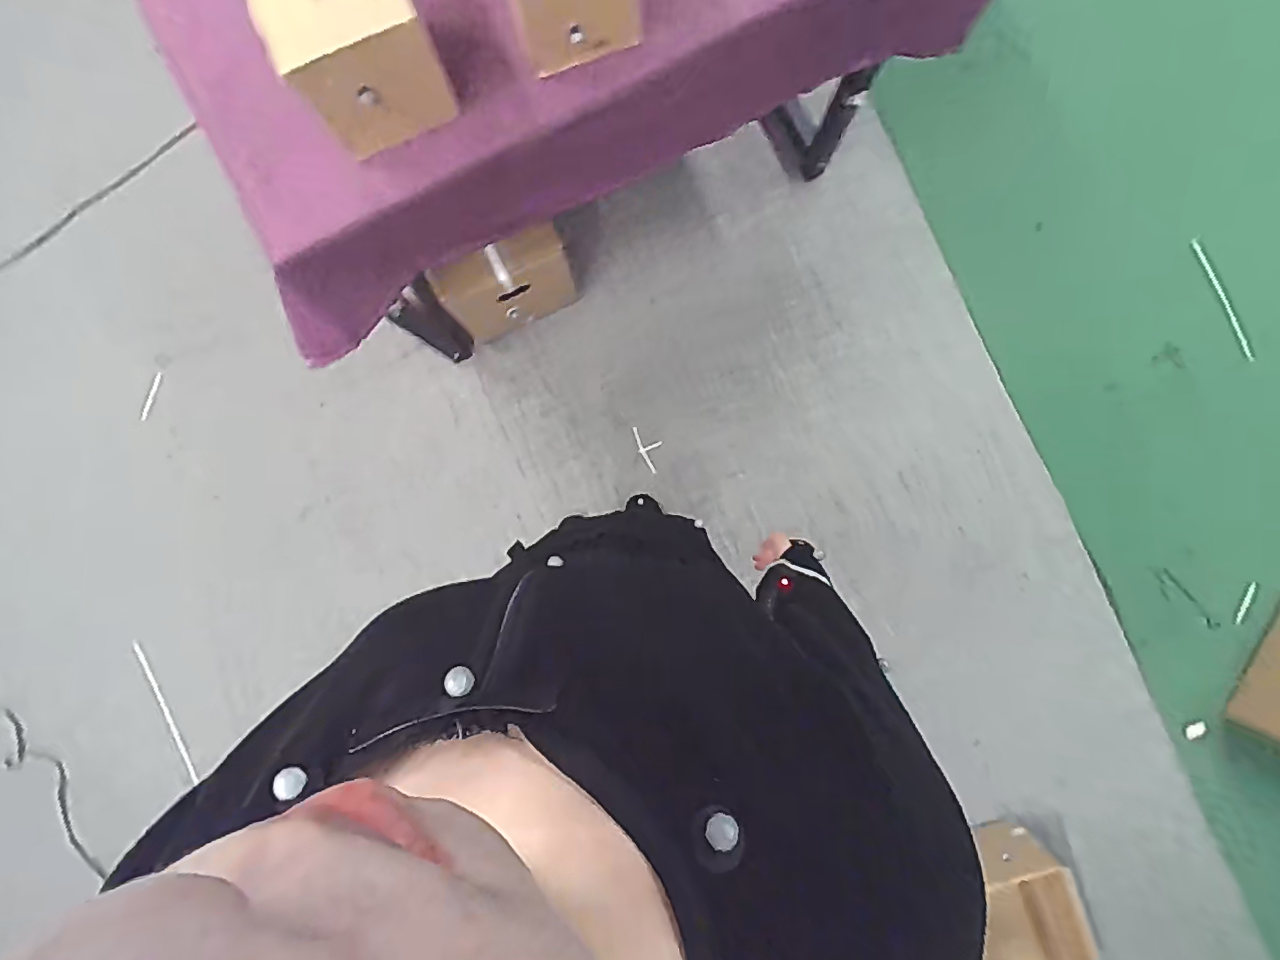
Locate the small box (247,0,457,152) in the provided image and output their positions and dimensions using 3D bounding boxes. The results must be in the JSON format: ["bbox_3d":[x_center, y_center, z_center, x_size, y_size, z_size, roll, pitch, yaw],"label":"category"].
[{"bbox_3d":[-0.377,-0.584,0.720,0.179,0.176,0.168,-24,89,1],"label":"small box"}]

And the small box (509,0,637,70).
[{"bbox_3d":[-0.107,-0.710,0.722,0.168,0.176,0.179,-19,90,0],"label":"small box"}]
